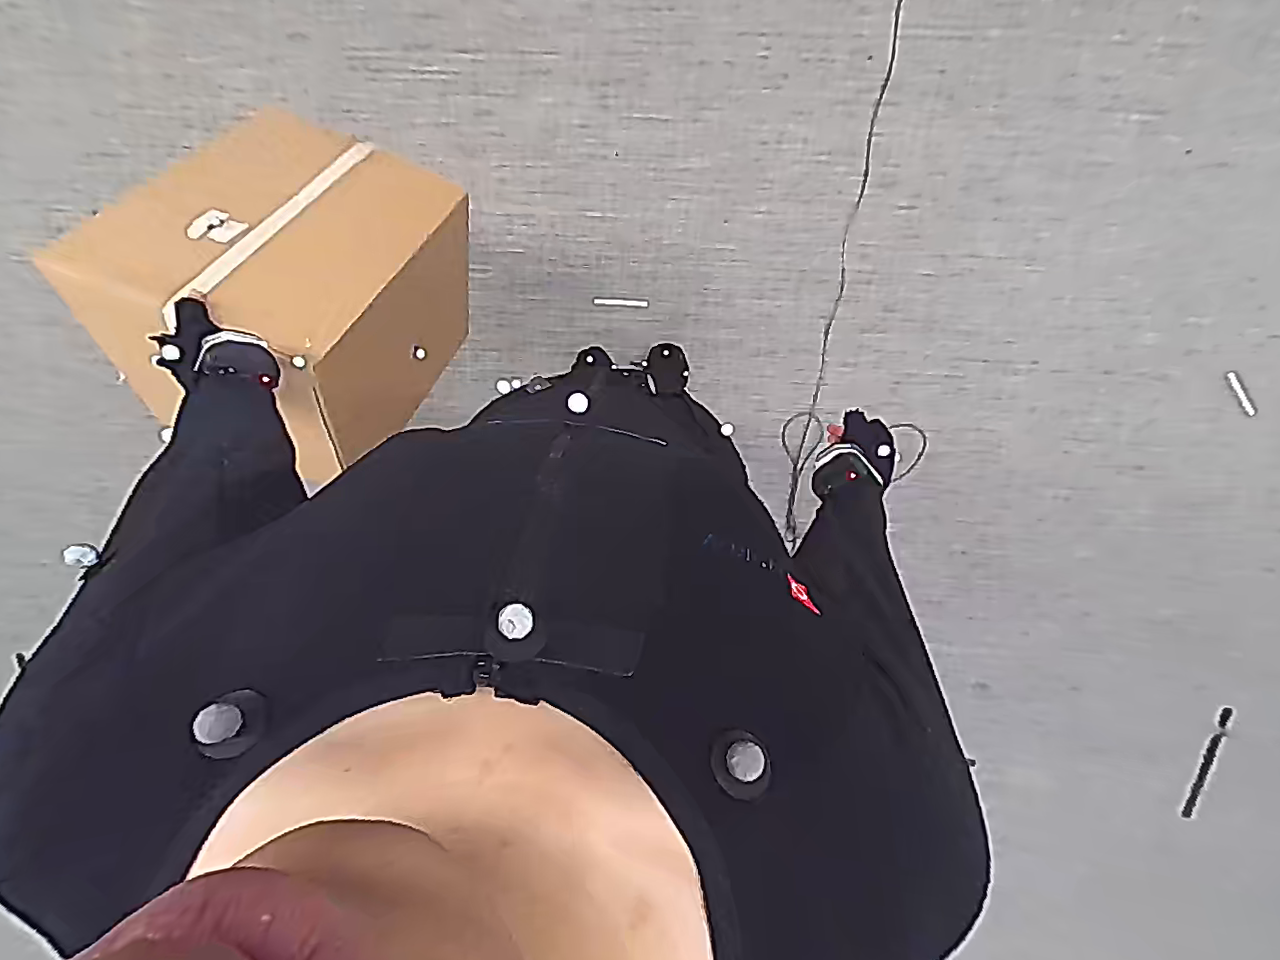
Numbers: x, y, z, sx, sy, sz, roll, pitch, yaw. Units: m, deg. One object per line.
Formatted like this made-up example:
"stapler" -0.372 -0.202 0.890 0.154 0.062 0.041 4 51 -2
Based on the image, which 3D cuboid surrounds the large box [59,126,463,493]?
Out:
"large box" -0.506 -0.258 0.852 0.320 0.408 0.320 21 146 -3
